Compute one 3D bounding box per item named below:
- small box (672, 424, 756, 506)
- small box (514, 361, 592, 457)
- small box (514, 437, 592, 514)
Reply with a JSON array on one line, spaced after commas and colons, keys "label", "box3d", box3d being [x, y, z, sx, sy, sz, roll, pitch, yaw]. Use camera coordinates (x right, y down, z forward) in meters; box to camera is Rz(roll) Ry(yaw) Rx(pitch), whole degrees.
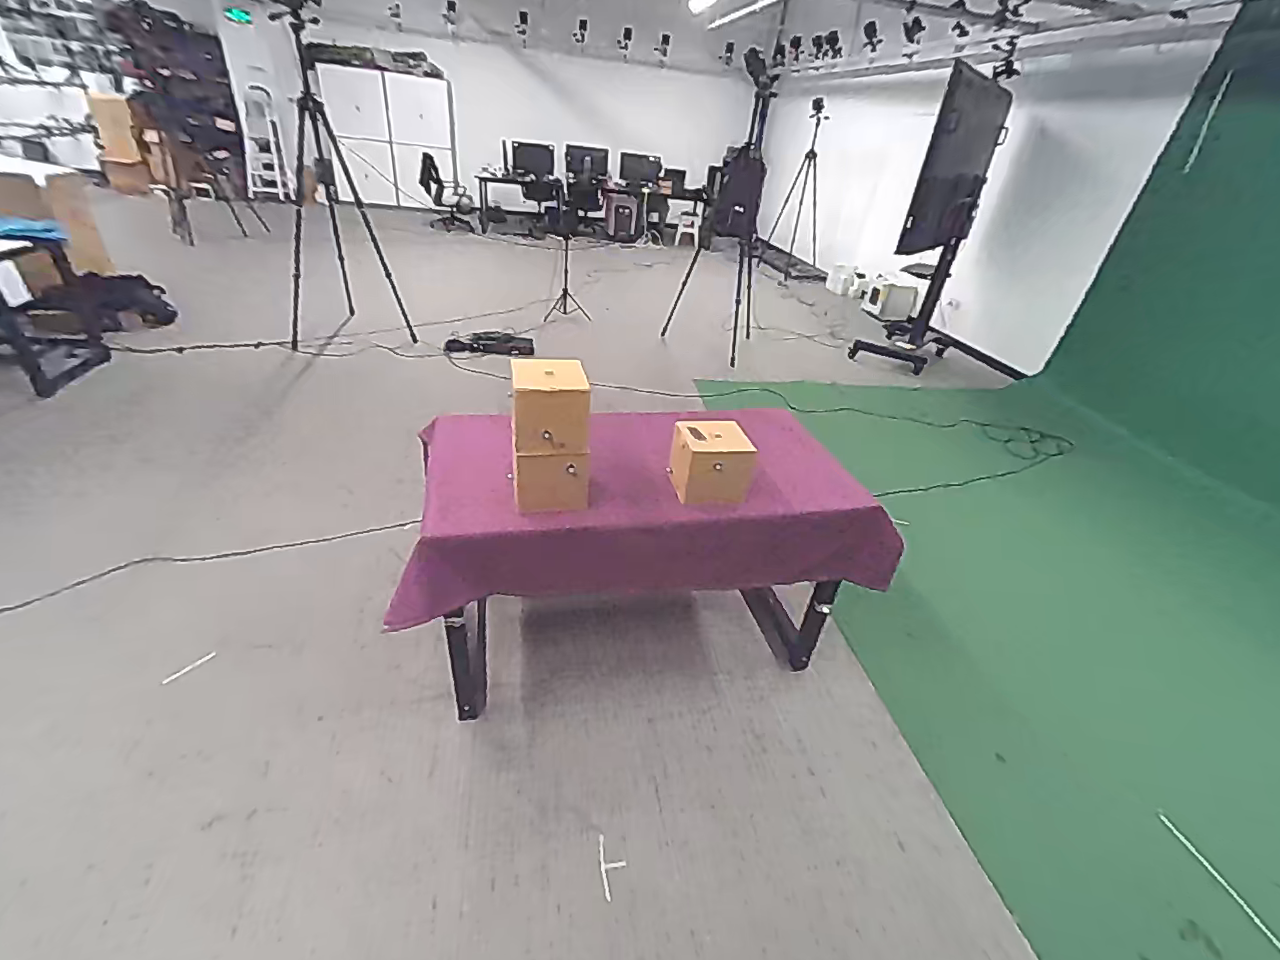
[{"label": "small box", "box3d": [0.188, -0.040, 1.456, 0.179, 0.176, 0.168, -1, 34, -13]}, {"label": "small box", "box3d": [-0.213, -0.168, 1.279, 0.168, 0.176, 0.179, -3, 35, -15]}, {"label": "small box", "box3d": [-0.225, -0.029, 1.363, 0.179, 0.176, 0.168, -3, 33, -15]}]
